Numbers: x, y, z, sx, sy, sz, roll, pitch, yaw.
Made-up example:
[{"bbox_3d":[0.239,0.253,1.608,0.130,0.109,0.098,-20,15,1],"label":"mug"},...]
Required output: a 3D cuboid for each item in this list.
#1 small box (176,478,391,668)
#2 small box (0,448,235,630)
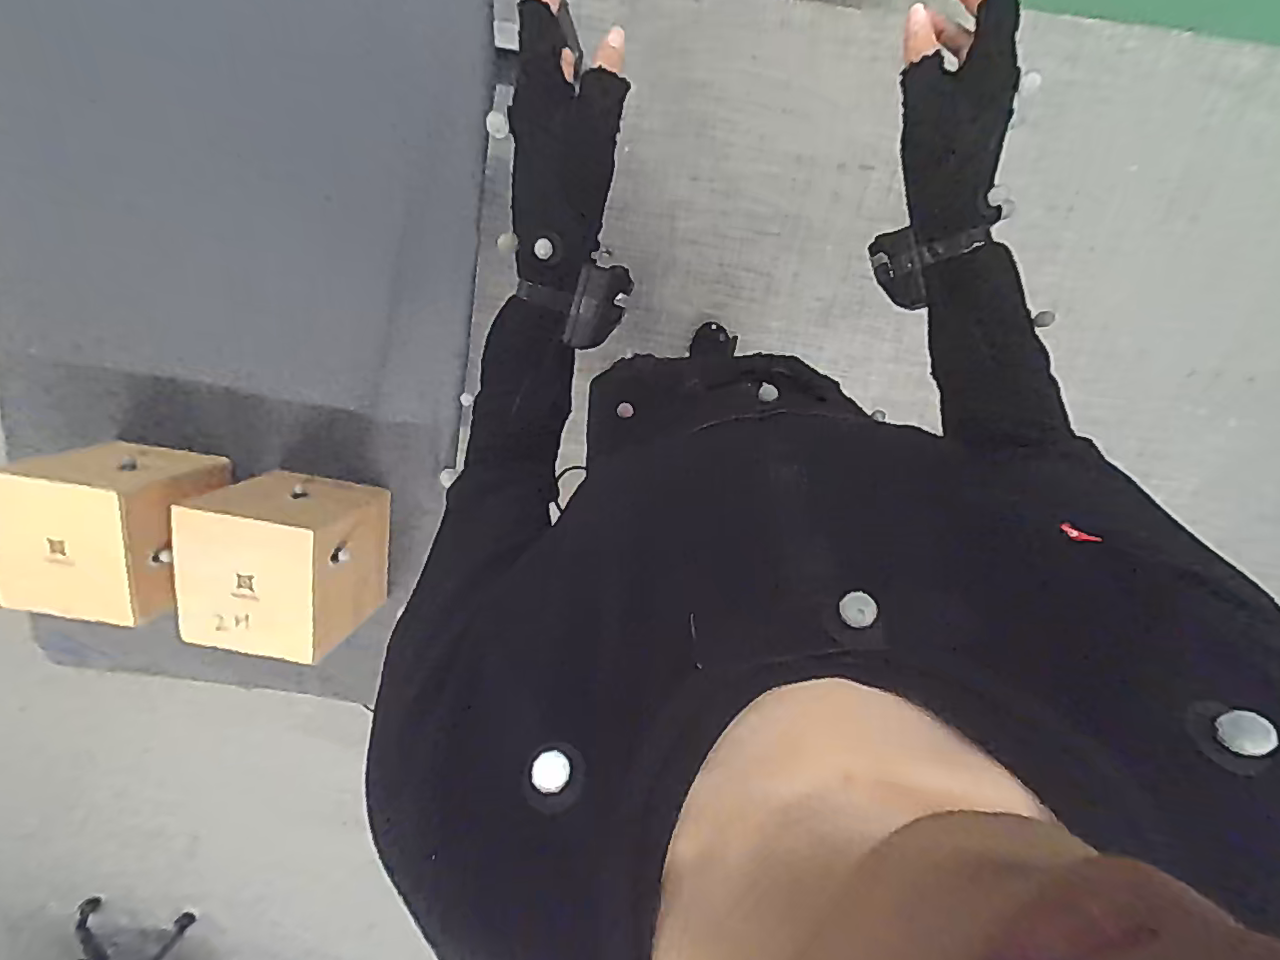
[{"bbox_3d":[-0.441,0.107,0.694,0.168,0.176,0.179,10,105,2],"label":"small box"},{"bbox_3d":[-0.661,0.065,0.700,0.168,0.176,0.179,8,107,1],"label":"small box"}]
